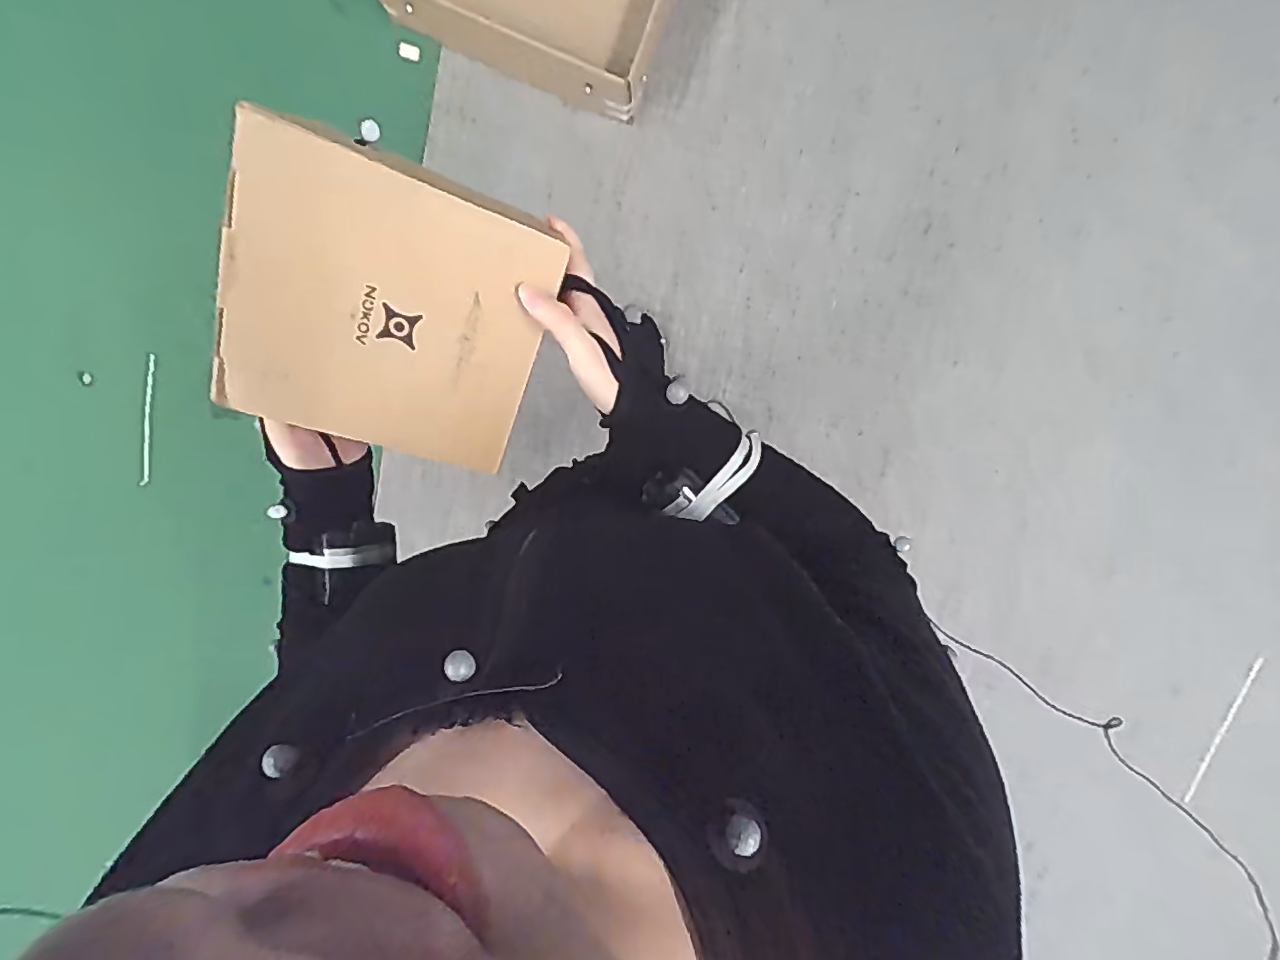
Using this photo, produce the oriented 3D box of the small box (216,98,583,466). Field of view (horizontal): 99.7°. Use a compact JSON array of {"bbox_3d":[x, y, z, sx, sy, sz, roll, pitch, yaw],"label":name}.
[{"bbox_3d":[-0.165,-0.137,0.398,0.179,0.176,0.168,17,113,-26],"label":"small box"}]
